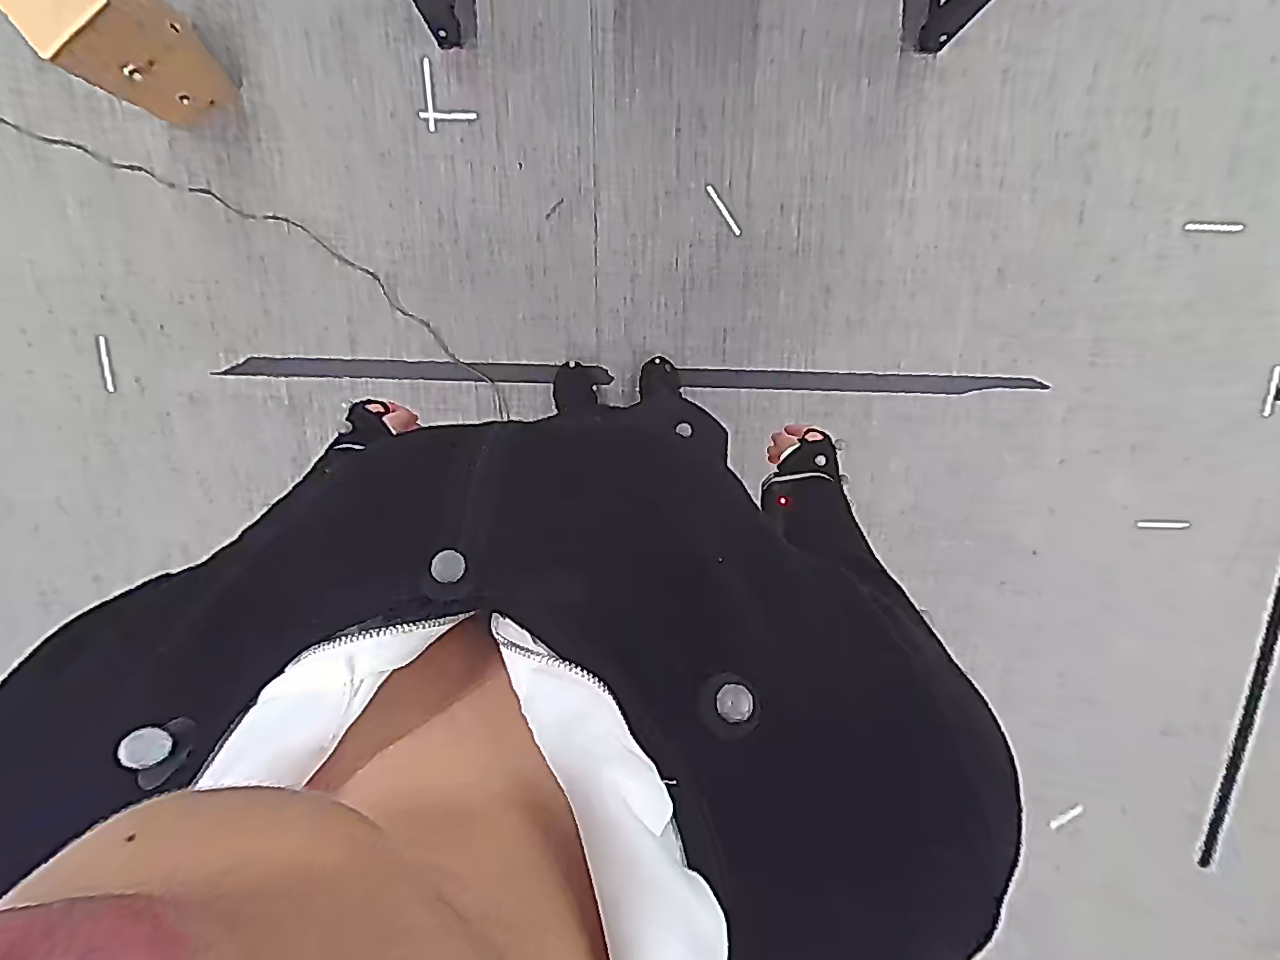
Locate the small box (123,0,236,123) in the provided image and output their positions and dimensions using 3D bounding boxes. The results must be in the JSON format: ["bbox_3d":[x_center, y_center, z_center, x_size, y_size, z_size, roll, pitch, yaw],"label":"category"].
[{"bbox_3d":[-1.051,-0.926,1.187,0.168,0.176,0.179,-31,101,4],"label":"small box"}]

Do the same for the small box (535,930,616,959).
[{"bbox_3d":[-0.142,1.131,1.175,0.179,0.176,0.168,-7,99,1],"label":"small box"}]

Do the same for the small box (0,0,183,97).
[{"bbox_3d":[-1.048,-0.888,1.028,0.168,0.176,0.179,-35,102,7],"label":"small box"}]
